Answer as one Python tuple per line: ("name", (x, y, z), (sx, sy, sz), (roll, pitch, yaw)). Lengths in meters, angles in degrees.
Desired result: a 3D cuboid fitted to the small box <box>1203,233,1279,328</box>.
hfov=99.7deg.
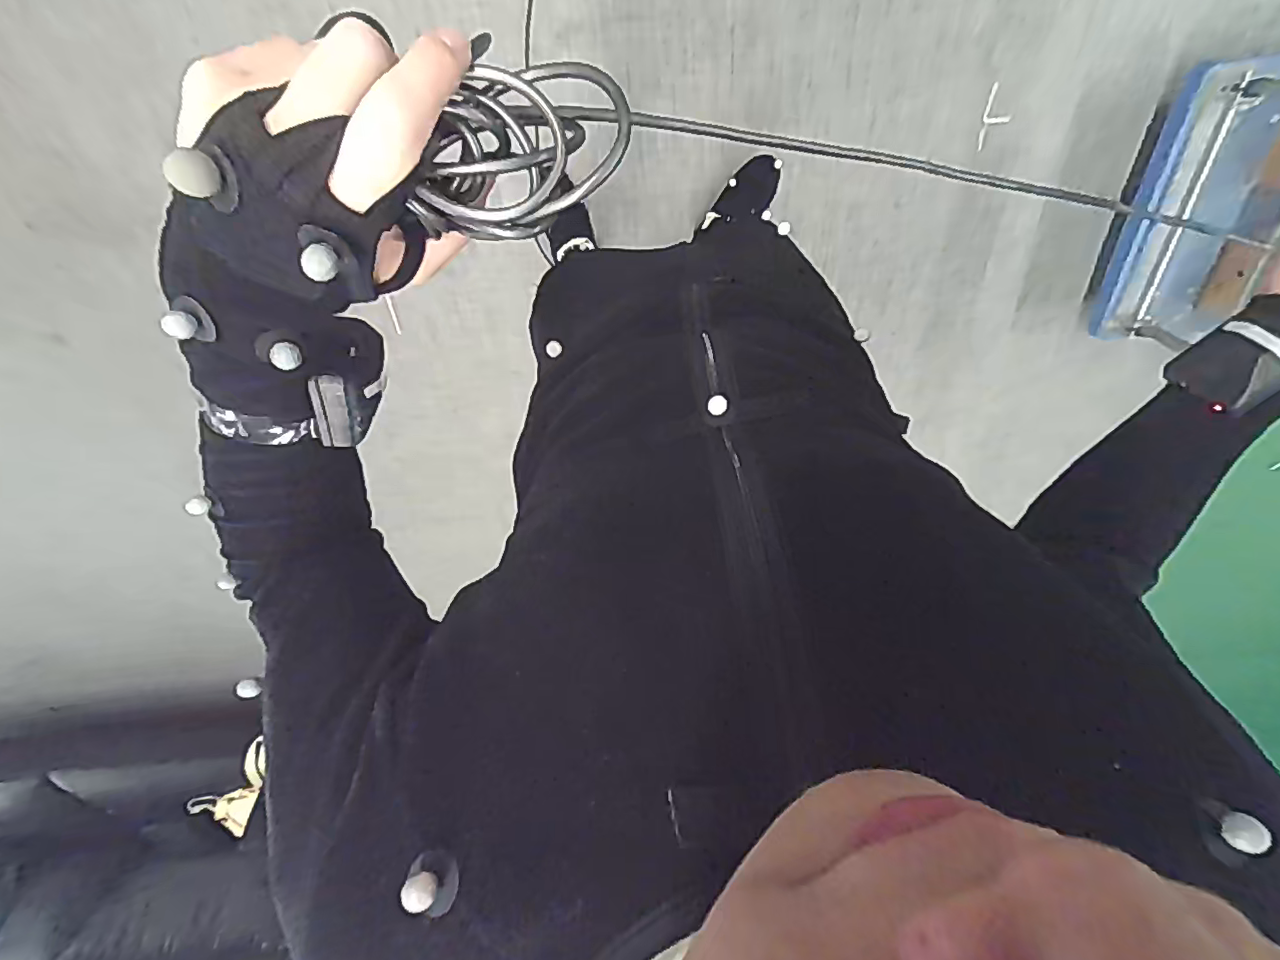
("small box", (1.466, -0.456, 1.221), (0.179, 0.176, 0.168), (-3, 126, 3))
